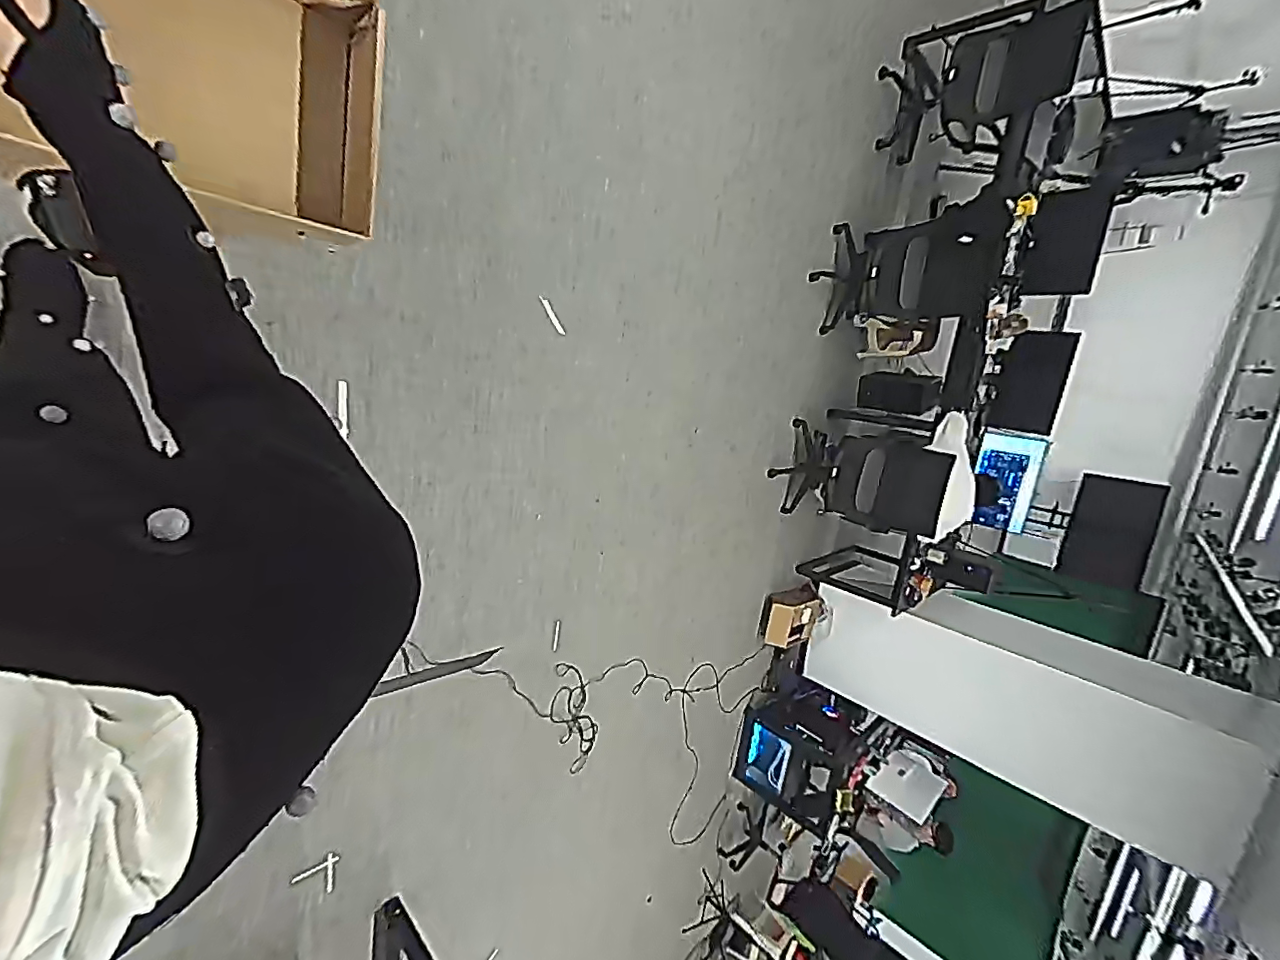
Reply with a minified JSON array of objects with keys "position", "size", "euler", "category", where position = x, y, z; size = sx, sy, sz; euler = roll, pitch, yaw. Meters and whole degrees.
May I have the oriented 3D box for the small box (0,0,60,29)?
[{"position":[-0.701,-0.603,0.534],"size":[0.168,0.176,0.179],"euler":[-3,105,-45],"category":"small box"}]
